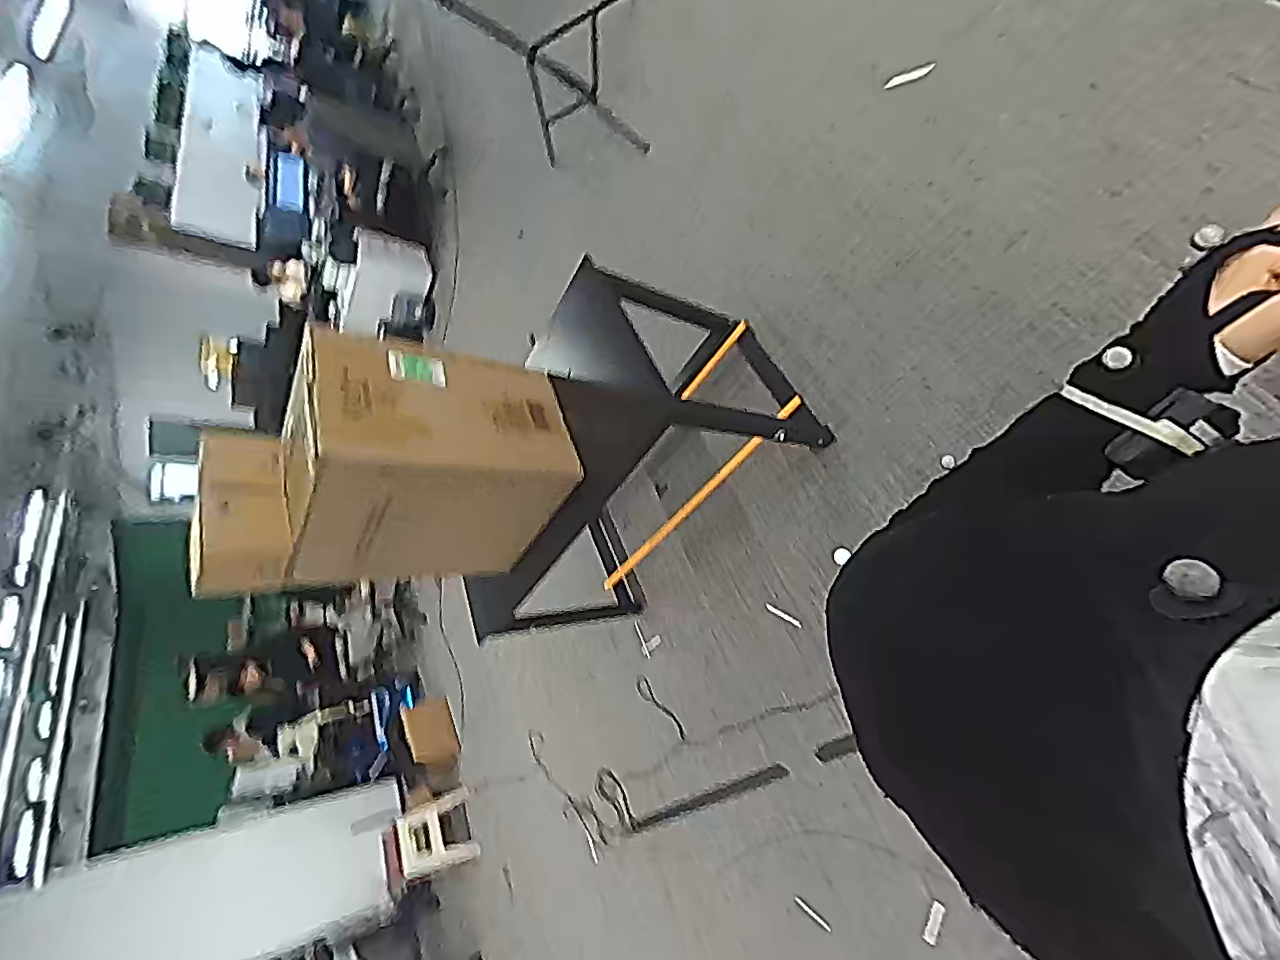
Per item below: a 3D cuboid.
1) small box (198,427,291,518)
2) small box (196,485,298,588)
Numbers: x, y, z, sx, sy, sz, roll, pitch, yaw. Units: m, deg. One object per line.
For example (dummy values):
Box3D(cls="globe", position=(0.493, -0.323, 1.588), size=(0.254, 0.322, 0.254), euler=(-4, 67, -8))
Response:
Box3D(cls="small box", position=(-0.992, -0.006, 1.359), size=(0.179, 0.176, 0.168), euler=(-47, 52, 35))
Box3D(cls="small box", position=(-0.921, 0.132, 1.264), size=(0.168, 0.176, 0.179), euler=(-51, 54, 32))
